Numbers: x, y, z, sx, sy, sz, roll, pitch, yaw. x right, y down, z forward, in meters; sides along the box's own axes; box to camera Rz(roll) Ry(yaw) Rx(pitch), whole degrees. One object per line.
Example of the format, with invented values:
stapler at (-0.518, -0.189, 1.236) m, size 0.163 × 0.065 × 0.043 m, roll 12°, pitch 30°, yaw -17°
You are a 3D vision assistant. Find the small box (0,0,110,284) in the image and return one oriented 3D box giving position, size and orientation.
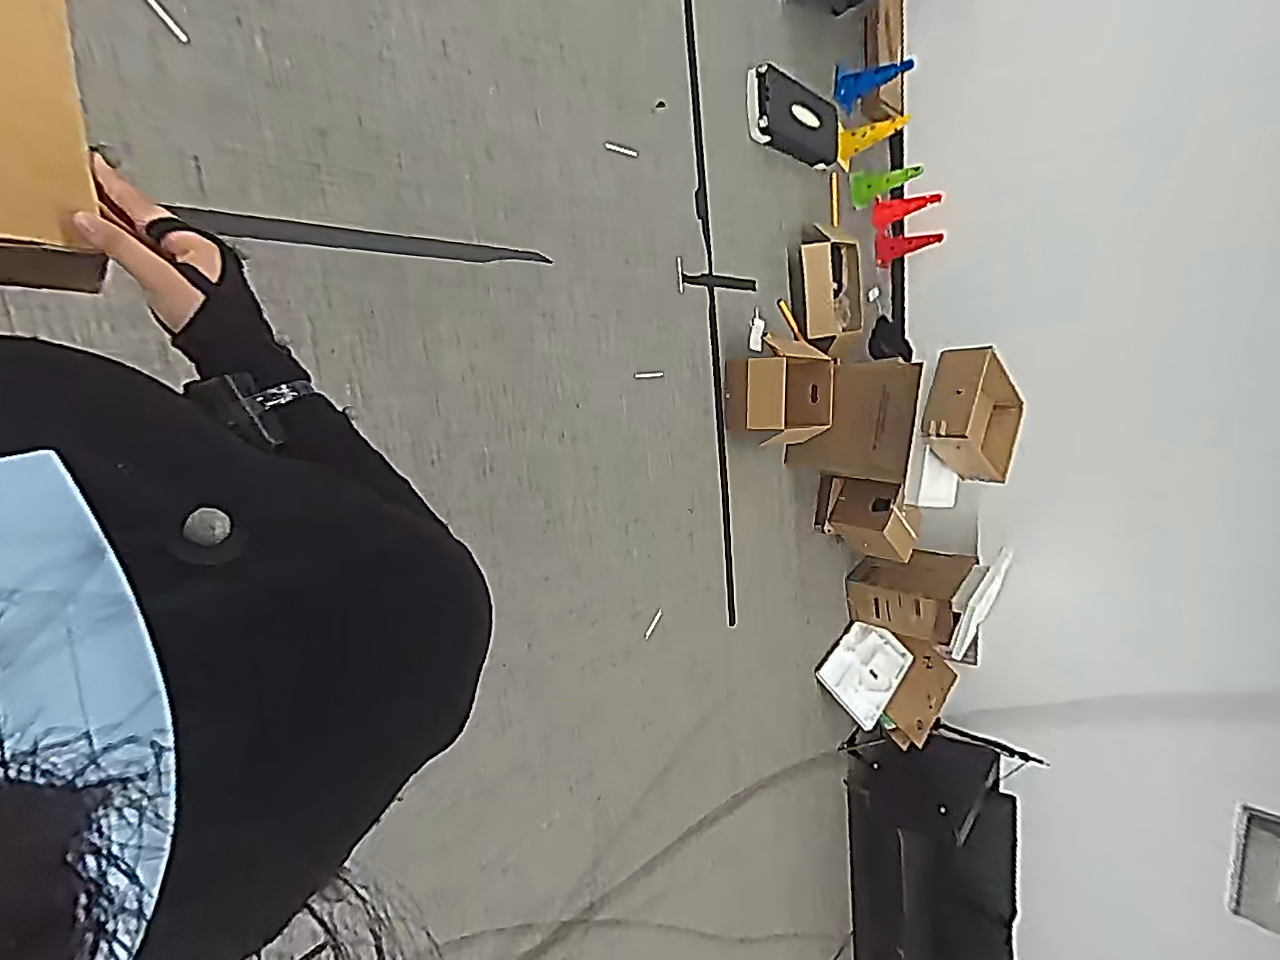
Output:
small box at (-0.487, -0.244, 0.362) m, size 0.168 × 0.176 × 0.179 m, roll -10°, pitch 103°, yaw -45°

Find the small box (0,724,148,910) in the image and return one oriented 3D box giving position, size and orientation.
small box at (-0.959, 0.555, 0.920) m, size 0.168 × 0.176 × 0.179 m, roll -9°, pitch 100°, yaw -44°
